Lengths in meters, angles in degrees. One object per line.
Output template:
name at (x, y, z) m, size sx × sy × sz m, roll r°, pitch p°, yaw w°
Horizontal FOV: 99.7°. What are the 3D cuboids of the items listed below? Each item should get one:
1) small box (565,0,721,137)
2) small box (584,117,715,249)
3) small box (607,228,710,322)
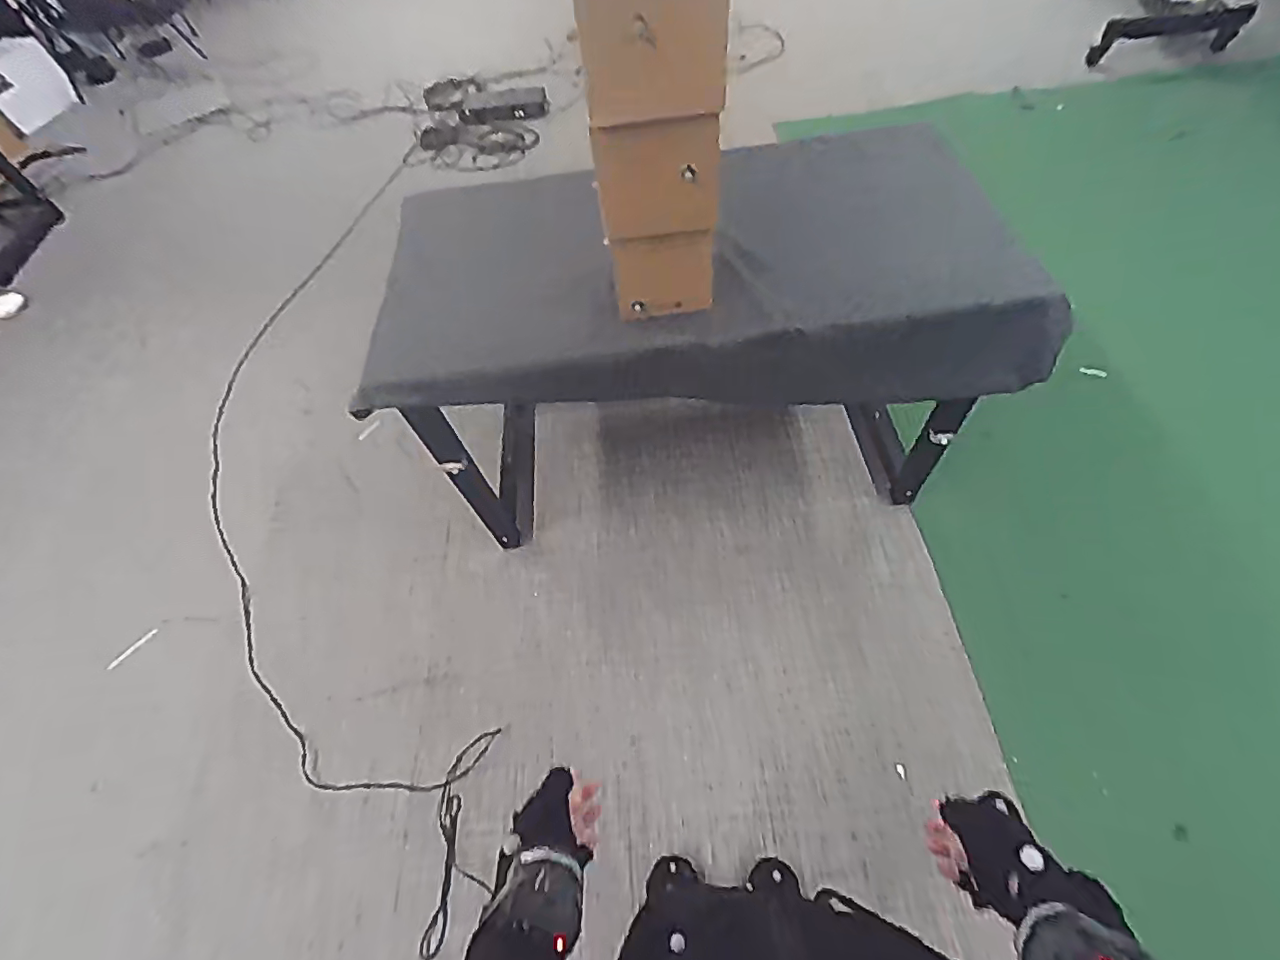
small box at (0.004, -0.560, 0.682) m, size 0.179 × 0.176 × 0.168 m, roll -9°, pitch 54°, yaw 1°
small box at (0.019, -0.478, 0.820) m, size 0.179 × 0.176 × 0.168 m, roll -6°, pitch 55°, yaw 5°
small box at (0.030, -0.402, 0.964) m, size 0.168 × 0.176 × 0.179 m, roll -10°, pitch 58°, yaw 2°
